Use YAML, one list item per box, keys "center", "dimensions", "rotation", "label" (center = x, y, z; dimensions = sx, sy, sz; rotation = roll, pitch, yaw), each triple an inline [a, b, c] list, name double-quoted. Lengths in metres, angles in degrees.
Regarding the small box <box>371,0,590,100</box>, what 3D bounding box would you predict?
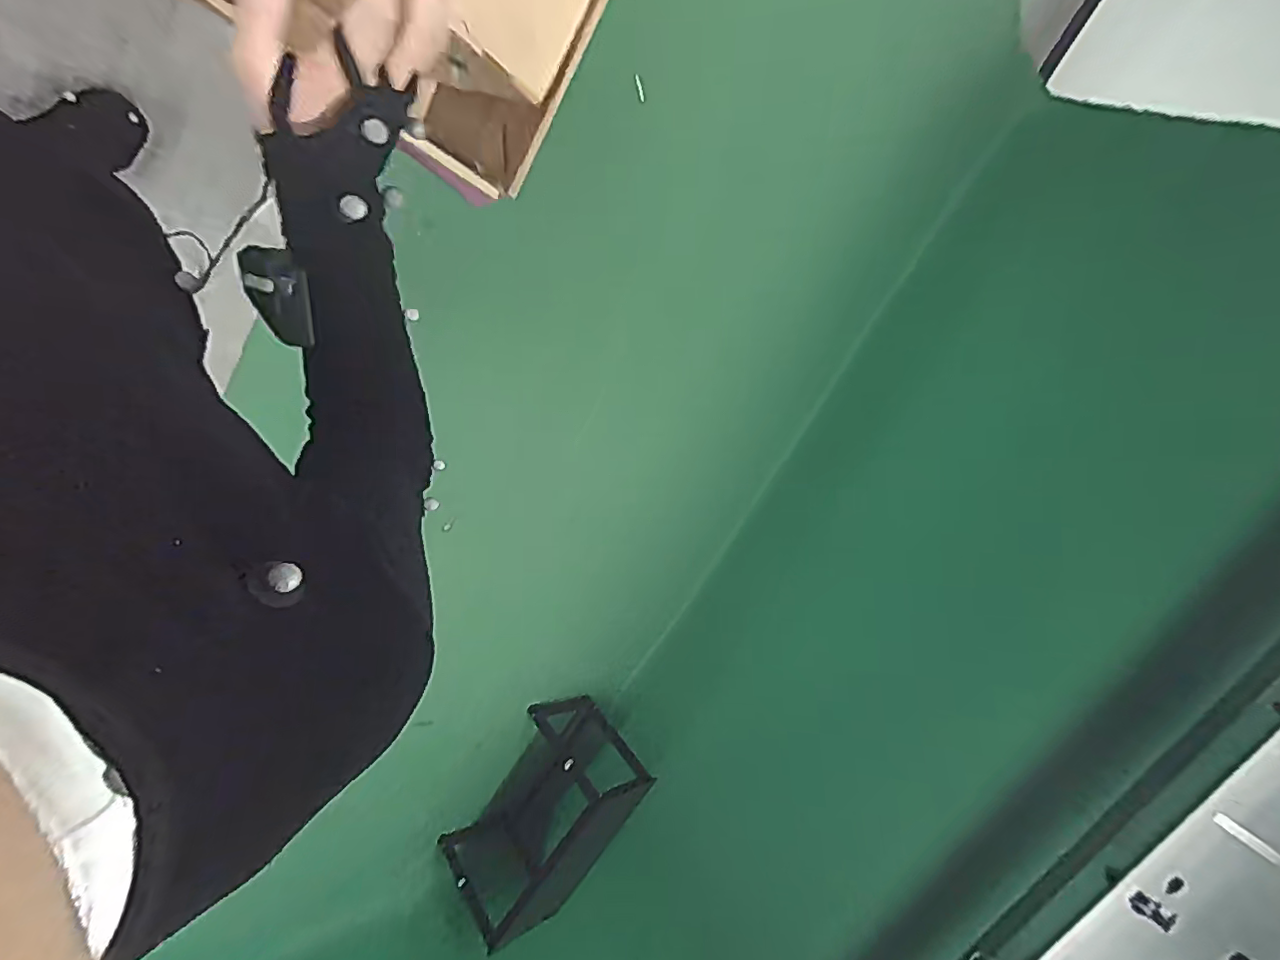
- center: [-0.141, -0.453, 0.432]
  dimensions: [0.168, 0.176, 0.179]
  rotation: [15, 110, -52]
  label: "small box"
